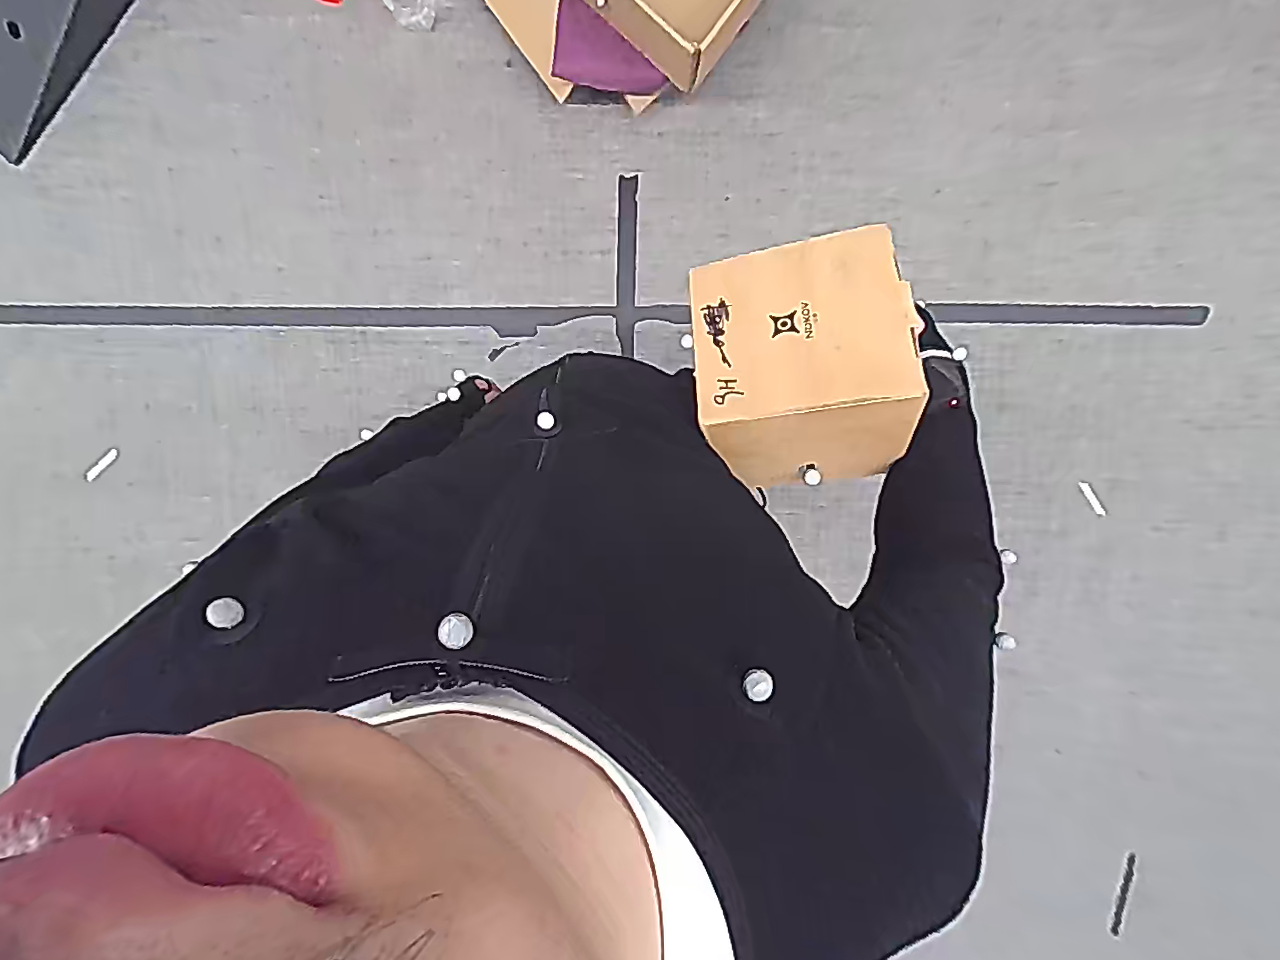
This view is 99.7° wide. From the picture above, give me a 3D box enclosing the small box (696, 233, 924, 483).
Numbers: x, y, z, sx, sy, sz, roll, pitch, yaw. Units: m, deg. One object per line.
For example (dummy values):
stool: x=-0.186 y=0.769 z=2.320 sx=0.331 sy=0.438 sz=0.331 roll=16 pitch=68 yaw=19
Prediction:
small box: x=0.159 y=-0.106 z=0.540 sx=0.179 sy=0.176 sz=0.168 roll=-7 pitch=68 yaw=15
